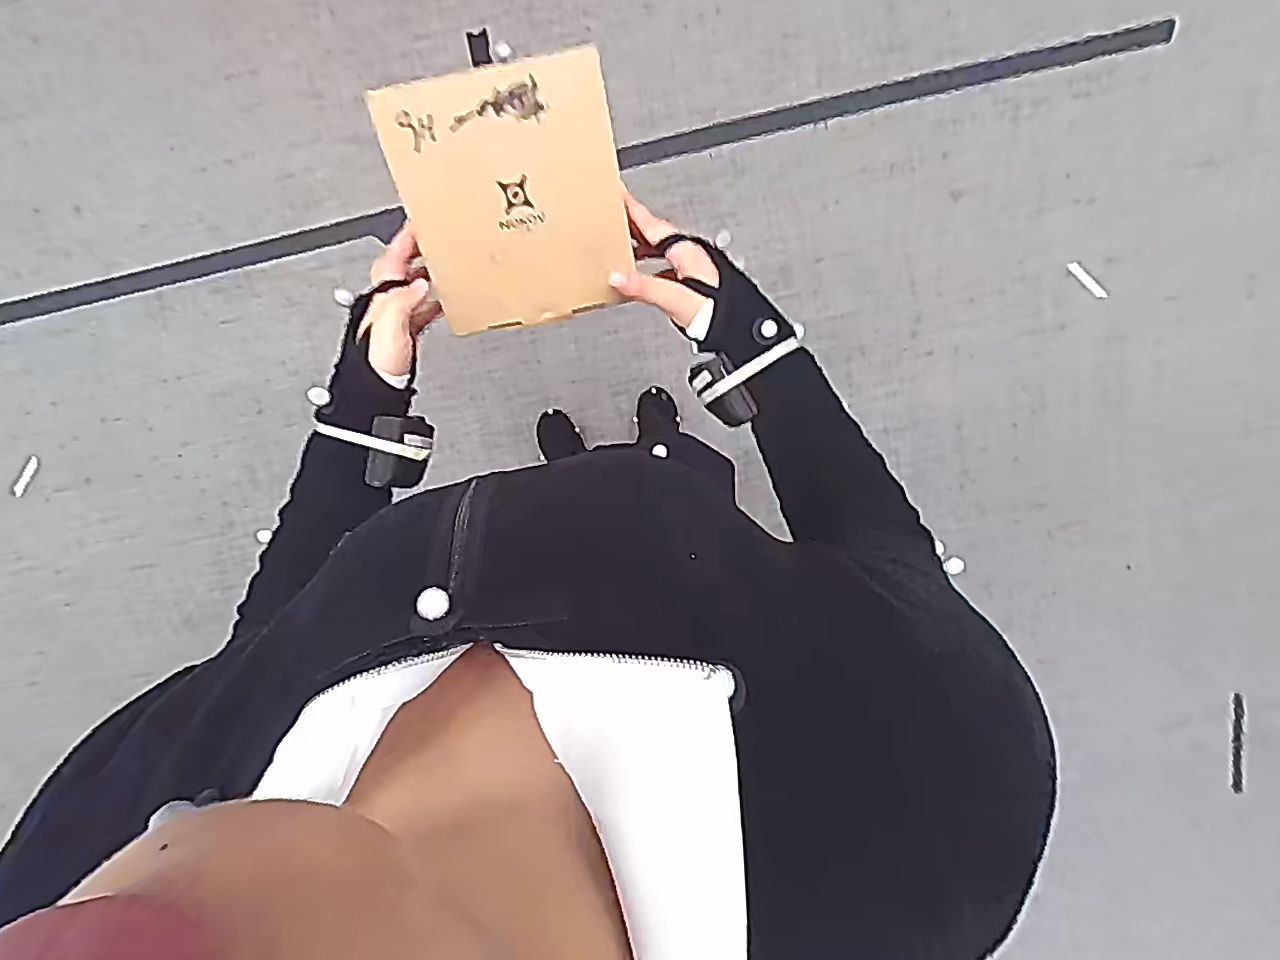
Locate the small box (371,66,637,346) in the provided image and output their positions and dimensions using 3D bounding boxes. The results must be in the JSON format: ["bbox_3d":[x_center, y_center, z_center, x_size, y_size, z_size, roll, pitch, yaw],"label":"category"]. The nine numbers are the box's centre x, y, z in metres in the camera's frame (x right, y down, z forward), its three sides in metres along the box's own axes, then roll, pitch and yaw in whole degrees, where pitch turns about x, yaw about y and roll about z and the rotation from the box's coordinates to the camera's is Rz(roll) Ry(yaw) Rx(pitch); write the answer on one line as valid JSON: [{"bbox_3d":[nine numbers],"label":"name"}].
[{"bbox_3d":[-0.103,-0.242,0.484,0.168,0.176,0.179,-12,122,-2],"label":"small box"}]
